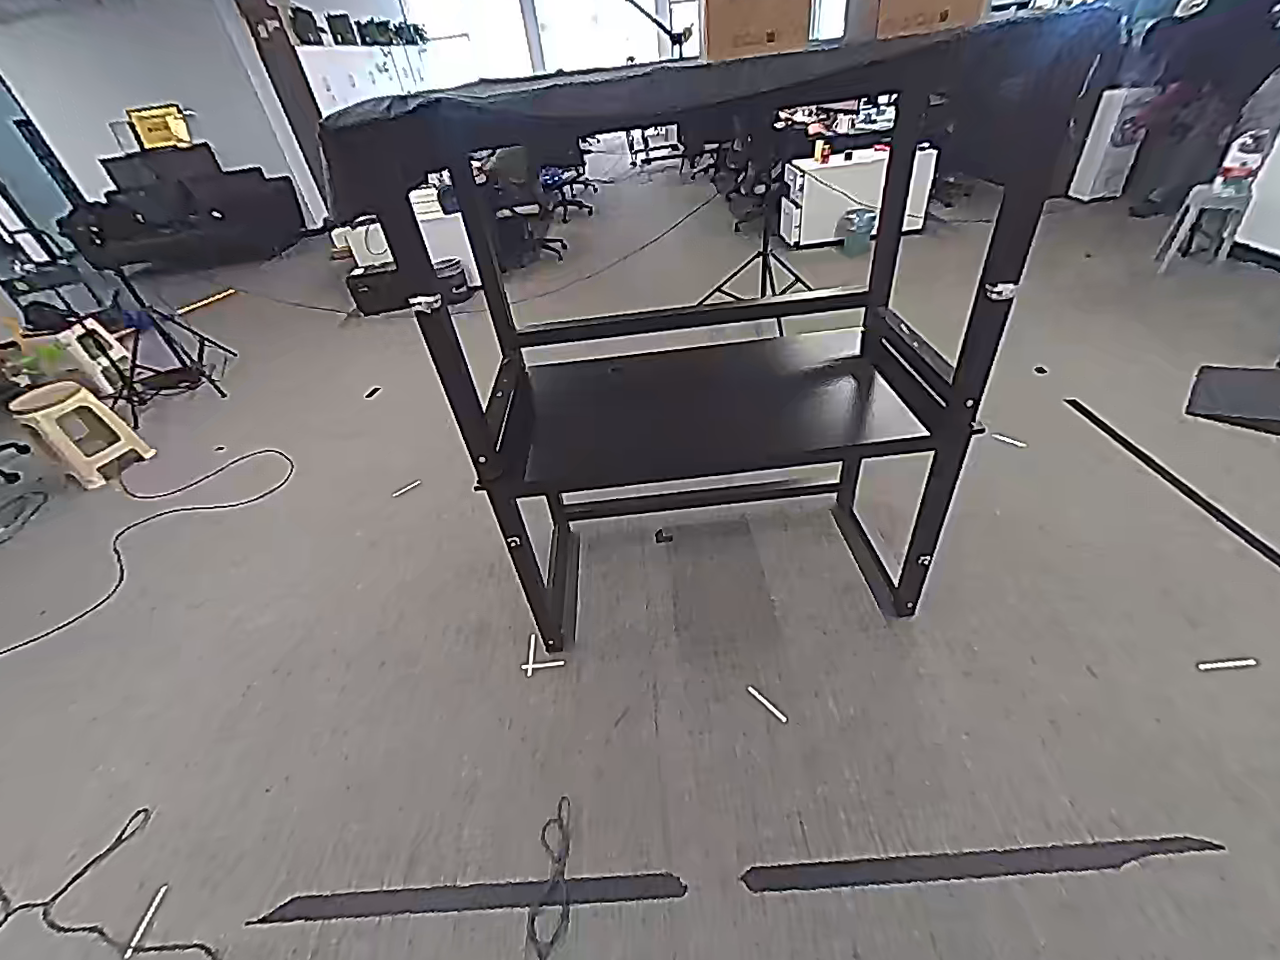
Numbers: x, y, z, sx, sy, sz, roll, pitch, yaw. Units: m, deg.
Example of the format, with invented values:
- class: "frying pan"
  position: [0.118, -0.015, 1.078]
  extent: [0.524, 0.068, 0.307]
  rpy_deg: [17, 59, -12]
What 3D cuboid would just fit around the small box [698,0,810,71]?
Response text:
- class: "small box"
  position: [0.185, -0.797, 0.898]
  extent: [0.168, 0.176, 0.179]
  rpy_deg: [-5, 37, 5]
